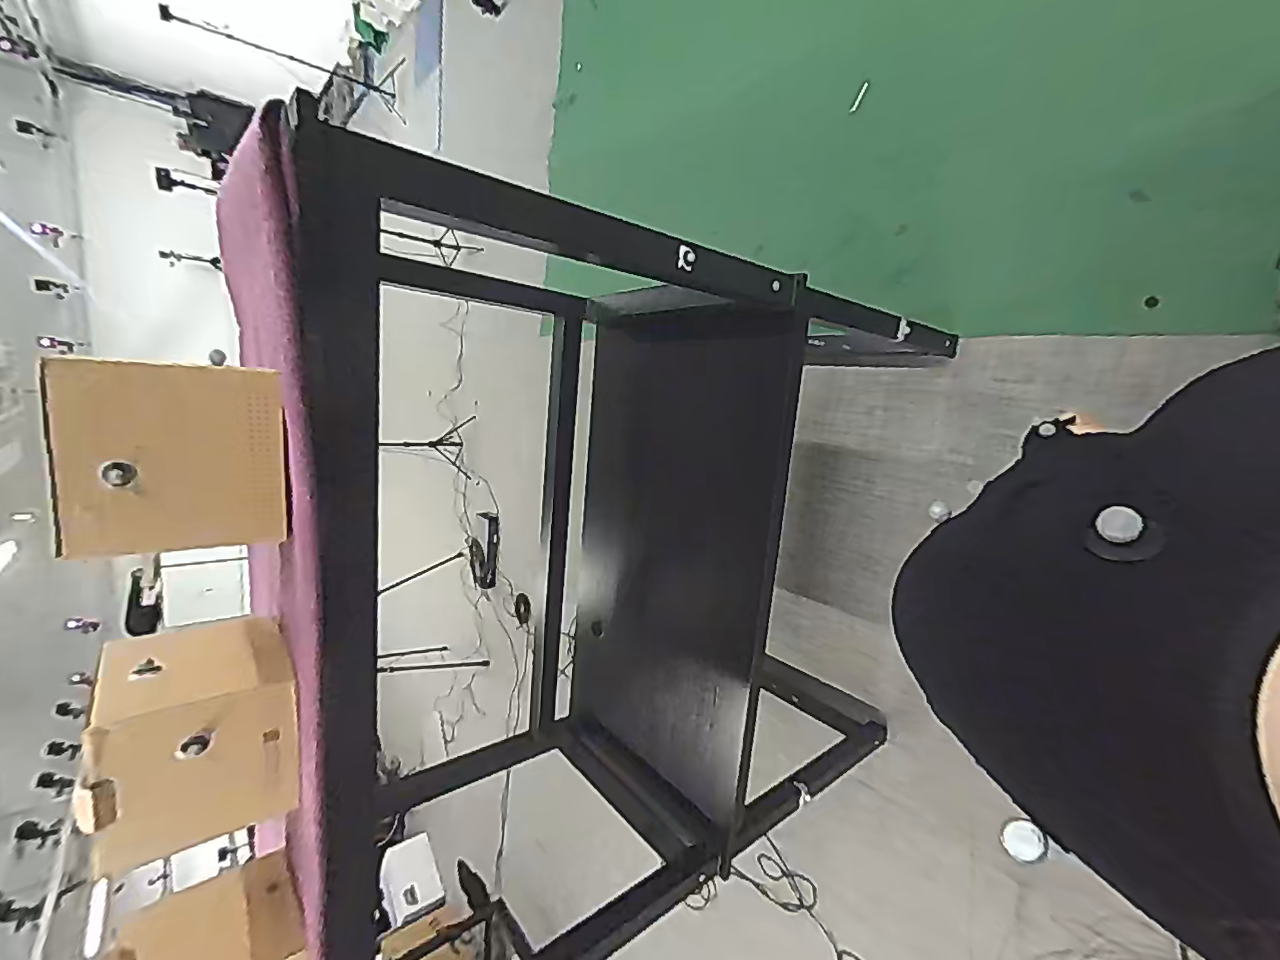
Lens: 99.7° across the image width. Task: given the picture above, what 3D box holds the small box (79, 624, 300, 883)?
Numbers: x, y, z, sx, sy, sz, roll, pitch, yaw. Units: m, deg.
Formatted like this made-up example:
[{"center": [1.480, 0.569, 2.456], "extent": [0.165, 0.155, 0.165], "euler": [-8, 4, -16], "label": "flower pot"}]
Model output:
[{"center": [-0.488, 0.278, 0.603], "extent": [0.179, 0.176, 0.168], "euler": [18, 105, 49], "label": "small box"}]

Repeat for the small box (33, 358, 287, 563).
[{"center": [-0.470, -0.030, 0.557], "extent": [0.168, 0.176, 0.179], "euler": [16, 105, 51], "label": "small box"}]
